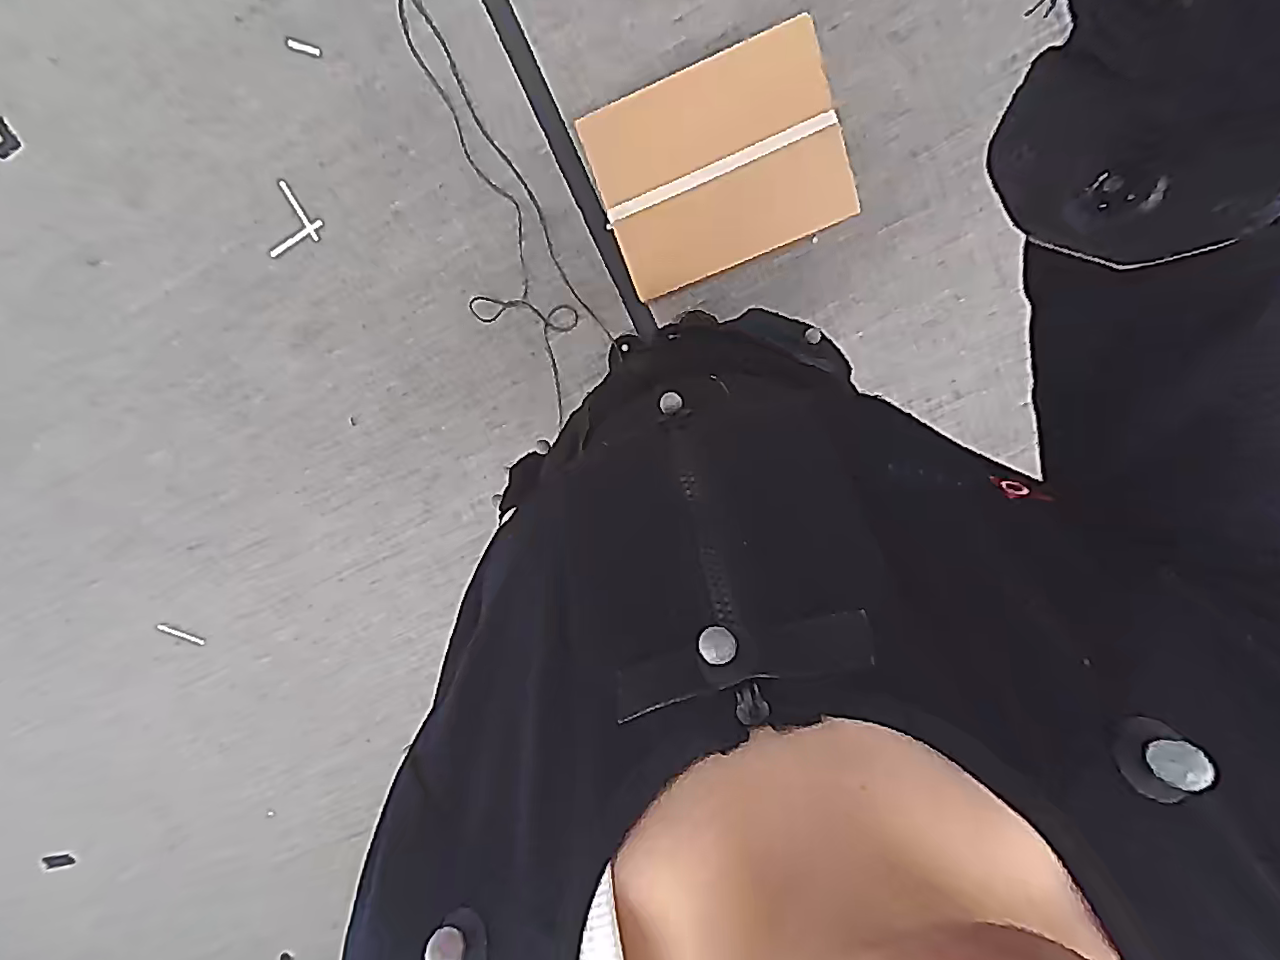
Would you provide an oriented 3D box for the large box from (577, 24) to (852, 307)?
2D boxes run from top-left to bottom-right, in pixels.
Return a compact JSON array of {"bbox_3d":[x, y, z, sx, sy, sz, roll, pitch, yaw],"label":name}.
[{"bbox_3d":[0.136,-0.565,1.063,0.408,0.320,0.320,-20,104,8],"label":"large box"}]
